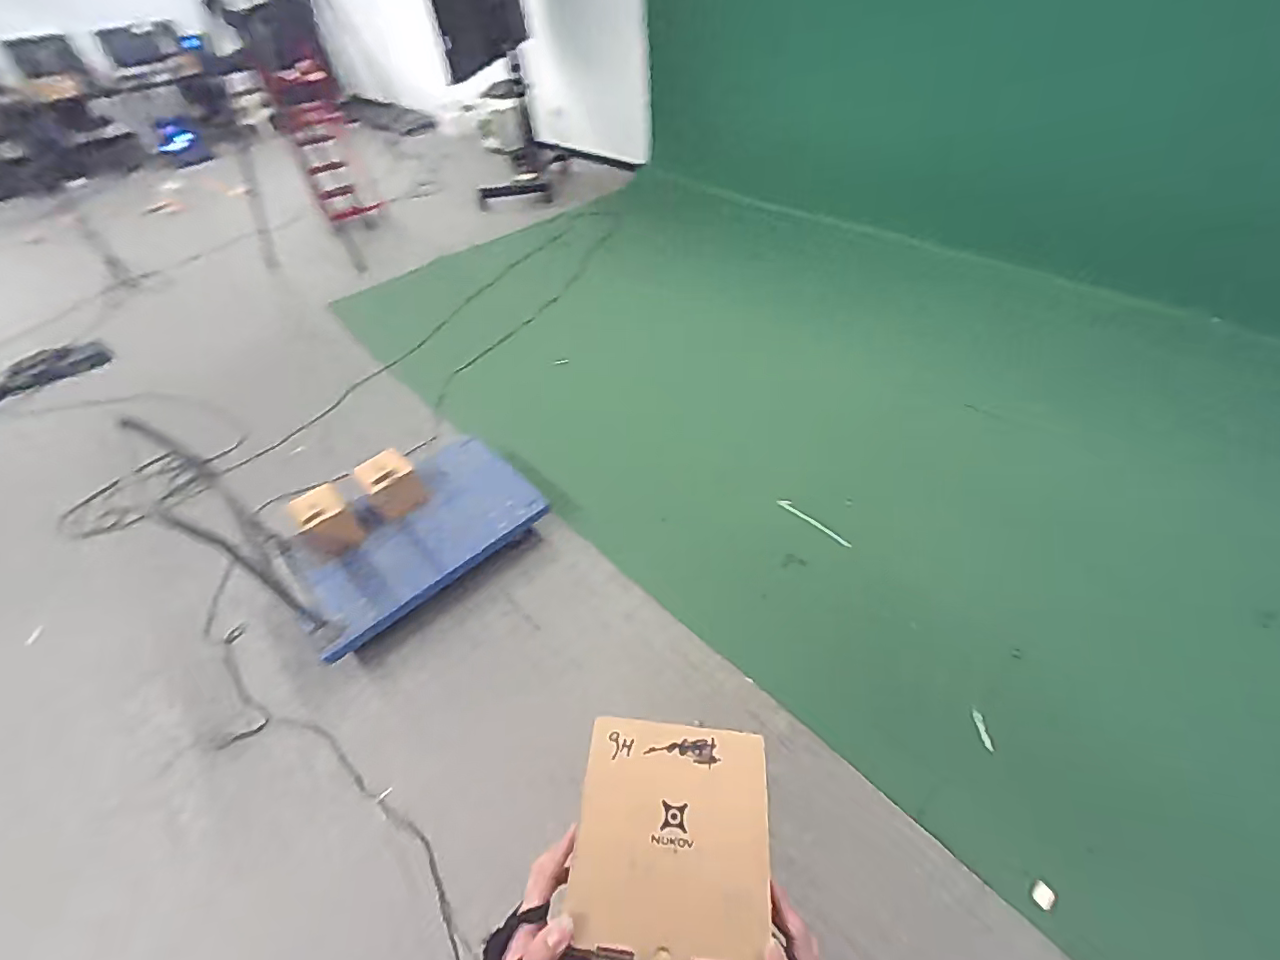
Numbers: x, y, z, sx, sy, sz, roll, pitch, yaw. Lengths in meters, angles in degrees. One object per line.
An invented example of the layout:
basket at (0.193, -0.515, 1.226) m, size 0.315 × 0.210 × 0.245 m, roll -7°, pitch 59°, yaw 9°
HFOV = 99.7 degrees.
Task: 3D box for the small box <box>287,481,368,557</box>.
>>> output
small box at (-1.080, 0.144, 1.881) m, size 0.168 × 0.176 × 0.179 m, roll -33°, pitch 51°, yaw -24°
